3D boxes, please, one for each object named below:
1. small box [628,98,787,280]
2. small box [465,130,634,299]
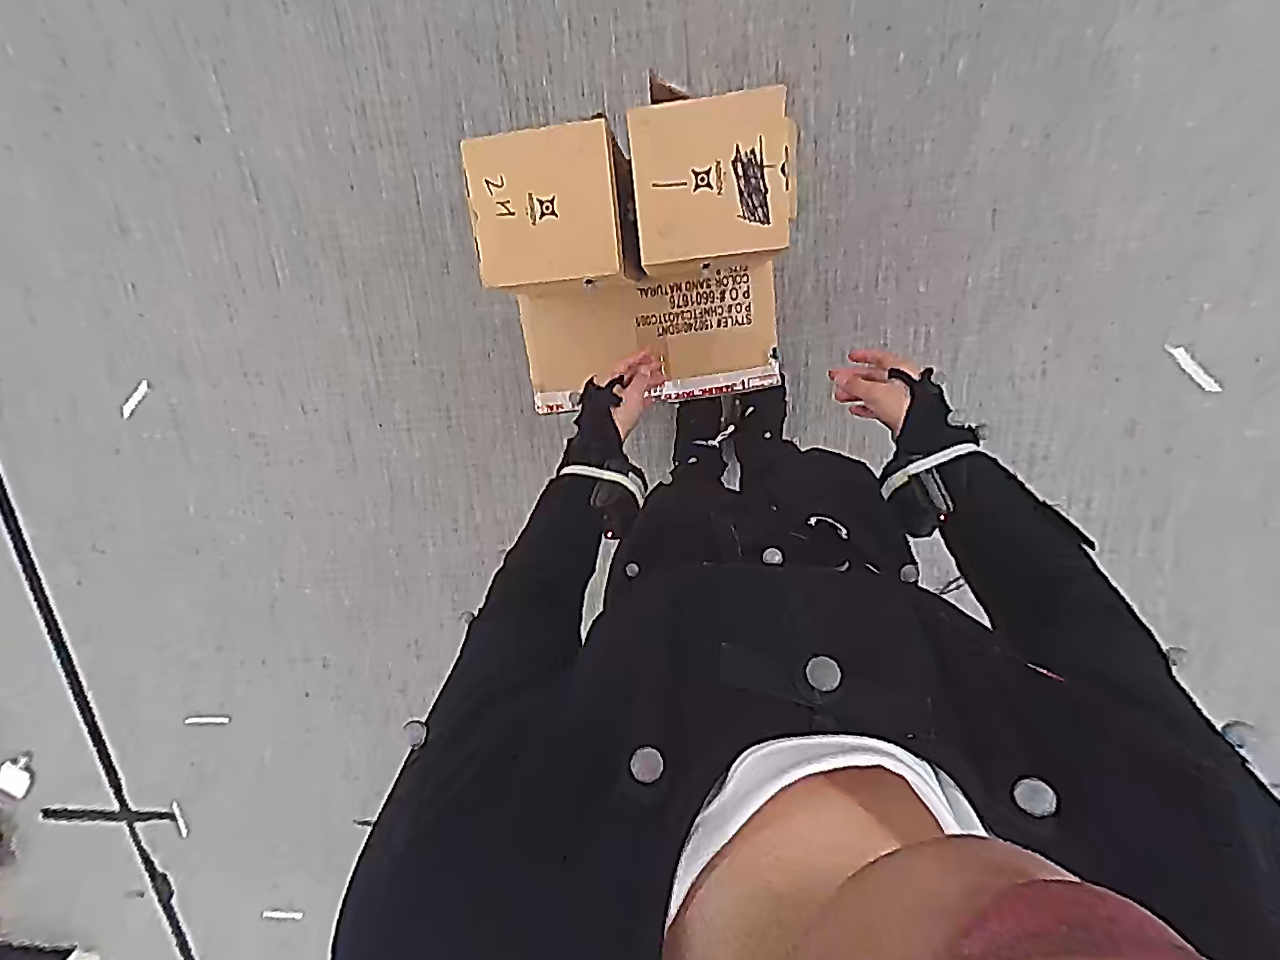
[{"bbox_3d":[0.084,-0.358,0.697,0.179,0.176,0.168,-5,105,6],"label":"small box"},{"bbox_3d":[-0.104,-0.338,0.720,0.179,0.176,0.168,-3,105,9],"label":"small box"}]
